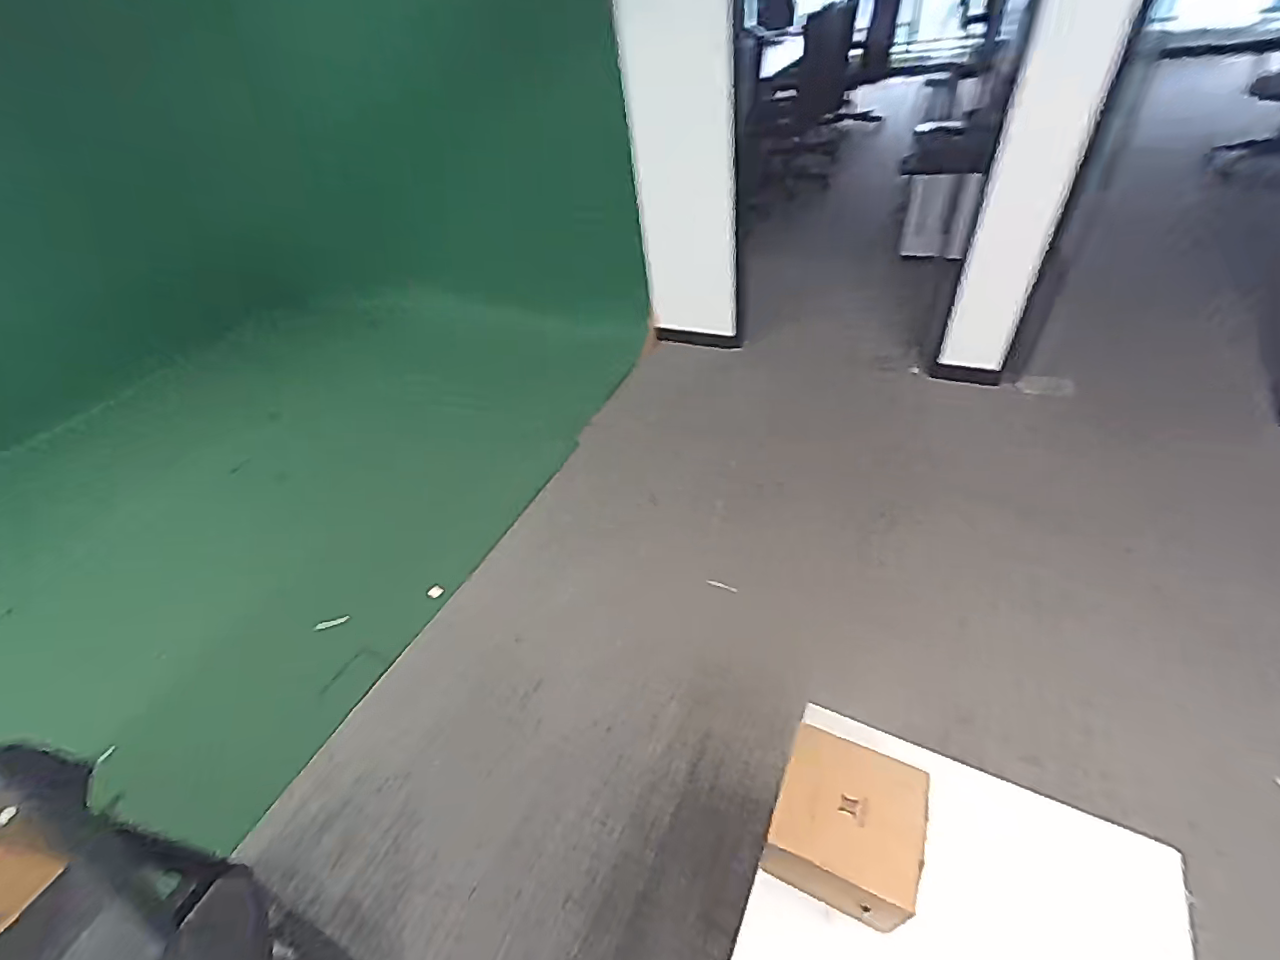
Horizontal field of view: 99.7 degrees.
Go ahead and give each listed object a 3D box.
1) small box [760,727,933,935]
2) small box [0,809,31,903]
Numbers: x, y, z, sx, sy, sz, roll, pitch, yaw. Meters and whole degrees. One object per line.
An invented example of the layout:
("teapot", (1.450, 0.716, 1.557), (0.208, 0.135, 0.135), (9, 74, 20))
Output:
("small box", (0.274, 0.477, 0.736), (0.179, 0.176, 0.168), (15, 46, 22))
("small box", (-0.948, 0.508, 0.681), (0.168, 0.176, 0.179), (16, 48, 24))
